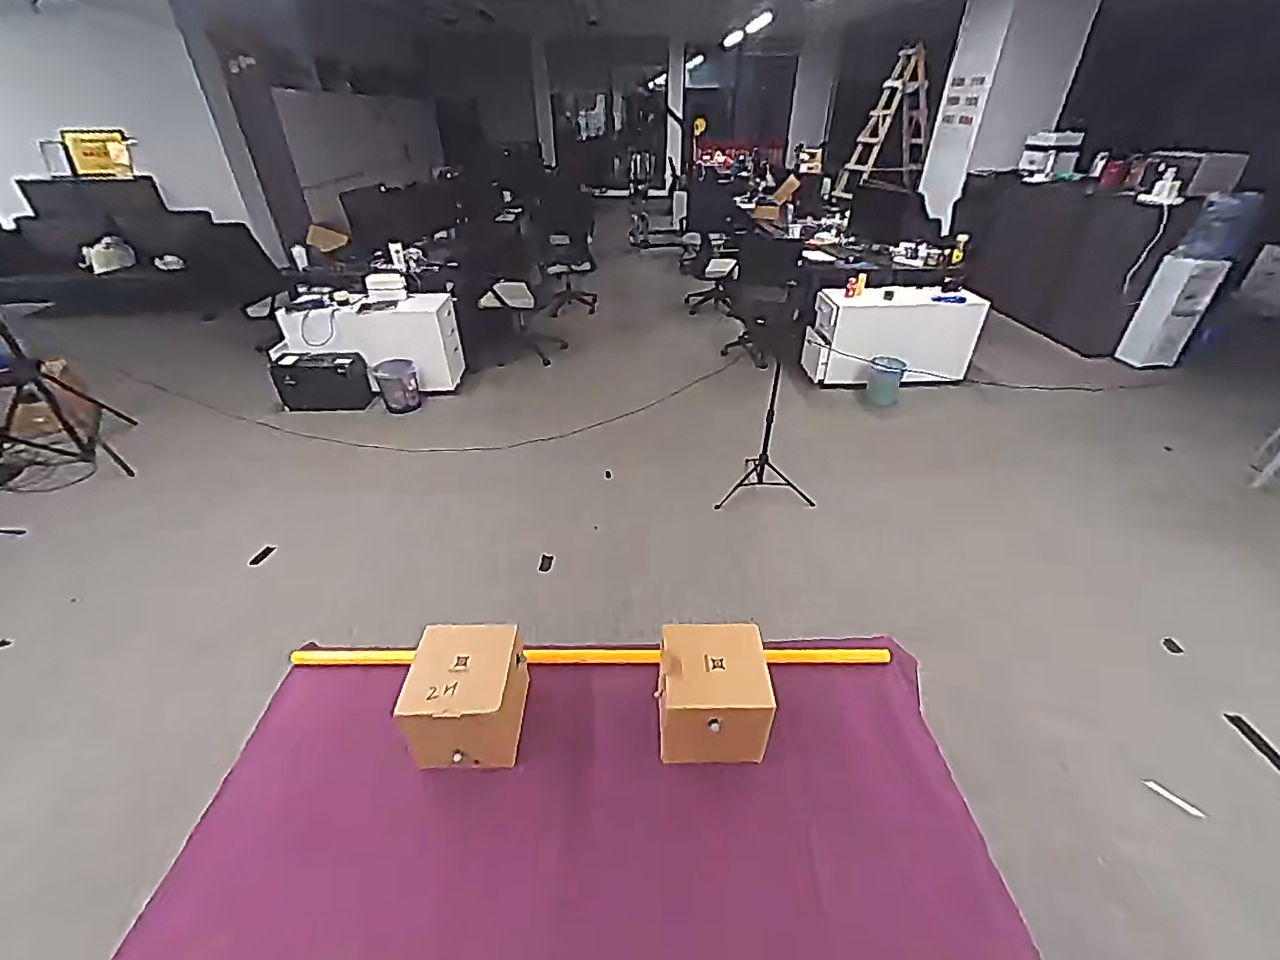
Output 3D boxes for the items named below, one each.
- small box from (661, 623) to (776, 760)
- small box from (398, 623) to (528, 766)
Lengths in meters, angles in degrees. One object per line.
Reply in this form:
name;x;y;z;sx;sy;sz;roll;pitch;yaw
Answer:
small box;0.127;0.373;0.954;0.179;0.176;0.168;-1;36;0
small box;-0.297;0.374;0.951;0.168;0.176;0.179;0;36;0
